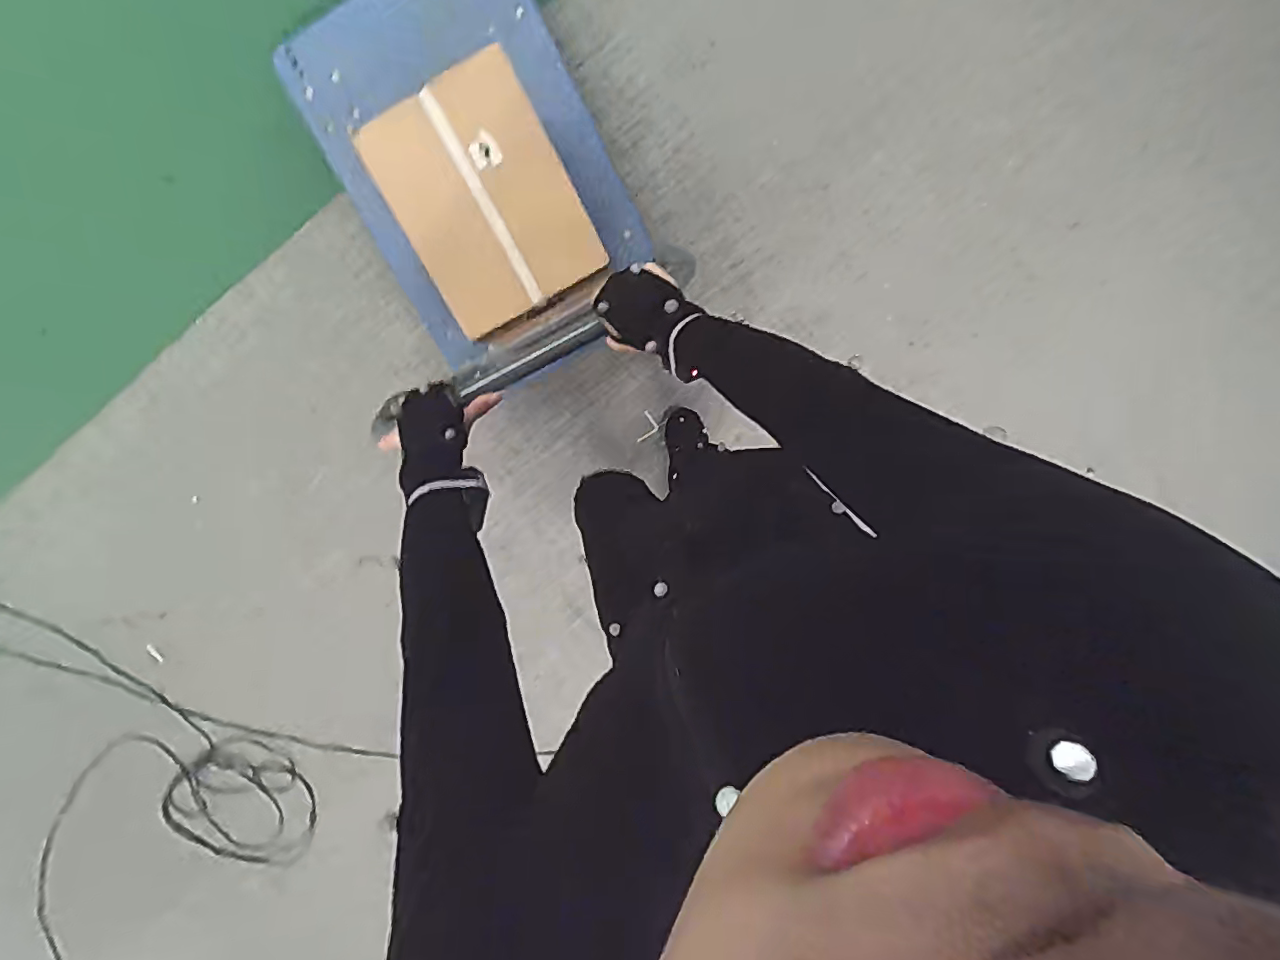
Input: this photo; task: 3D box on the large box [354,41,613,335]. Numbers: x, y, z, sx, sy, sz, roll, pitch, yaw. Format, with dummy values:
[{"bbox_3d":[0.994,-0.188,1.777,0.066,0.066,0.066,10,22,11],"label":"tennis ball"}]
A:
[{"bbox_3d":[-0.288,-0.561,1.138,0.320,0.320,0.408,-27,102,5],"label":"large box"}]
